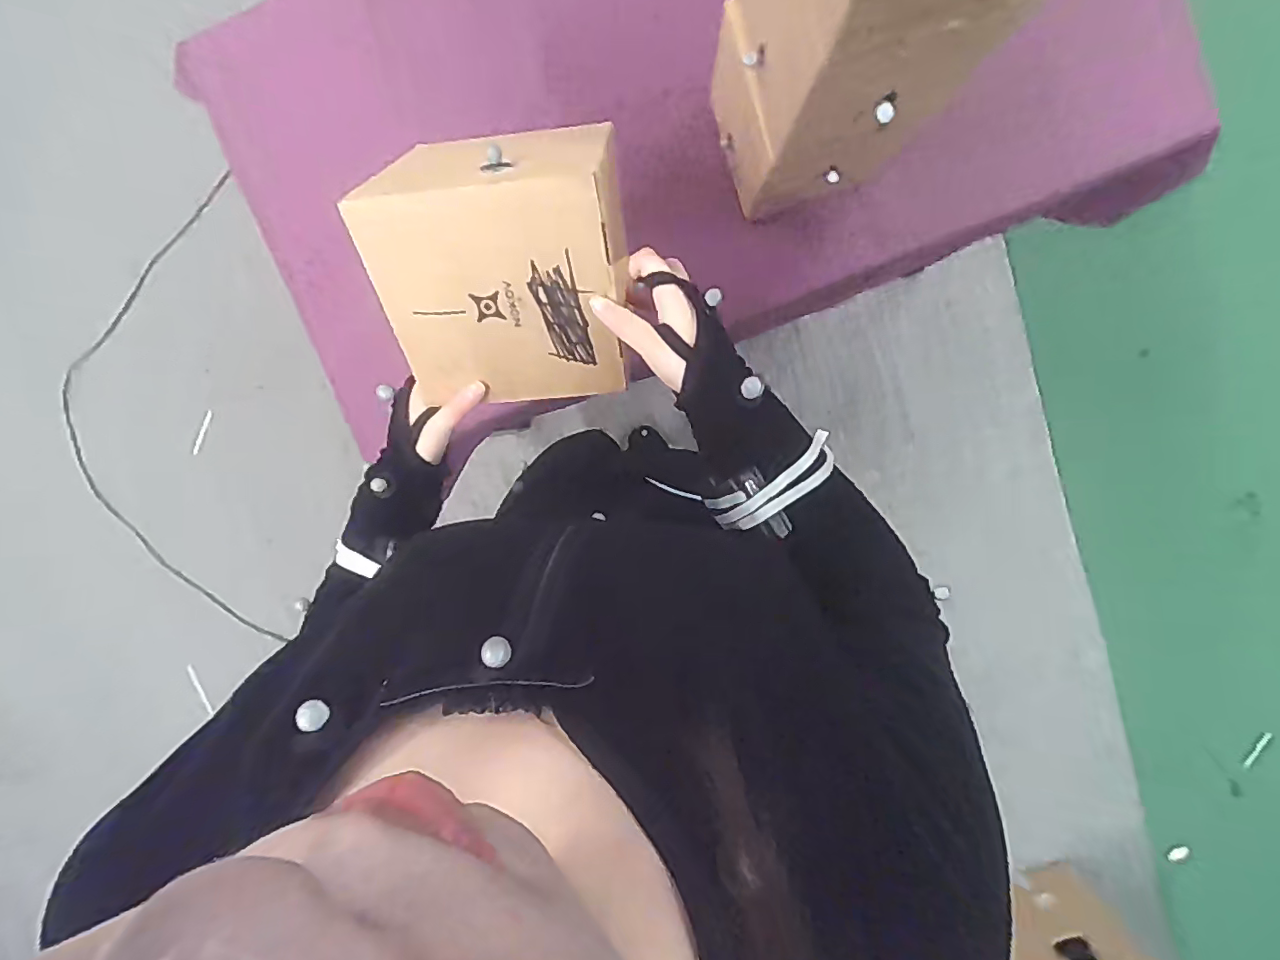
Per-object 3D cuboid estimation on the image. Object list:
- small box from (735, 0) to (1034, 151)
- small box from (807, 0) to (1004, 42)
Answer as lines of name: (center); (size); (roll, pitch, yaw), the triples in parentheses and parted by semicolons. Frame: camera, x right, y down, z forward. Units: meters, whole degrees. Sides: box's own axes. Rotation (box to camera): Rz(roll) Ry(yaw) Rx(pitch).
small box: (0.188, -0.414, 0.461); (0.168, 0.176, 0.179); (-15, 97, 3)
small box: (0.182, -0.392, 0.296); (0.168, 0.176, 0.179); (-16, 95, 4)
